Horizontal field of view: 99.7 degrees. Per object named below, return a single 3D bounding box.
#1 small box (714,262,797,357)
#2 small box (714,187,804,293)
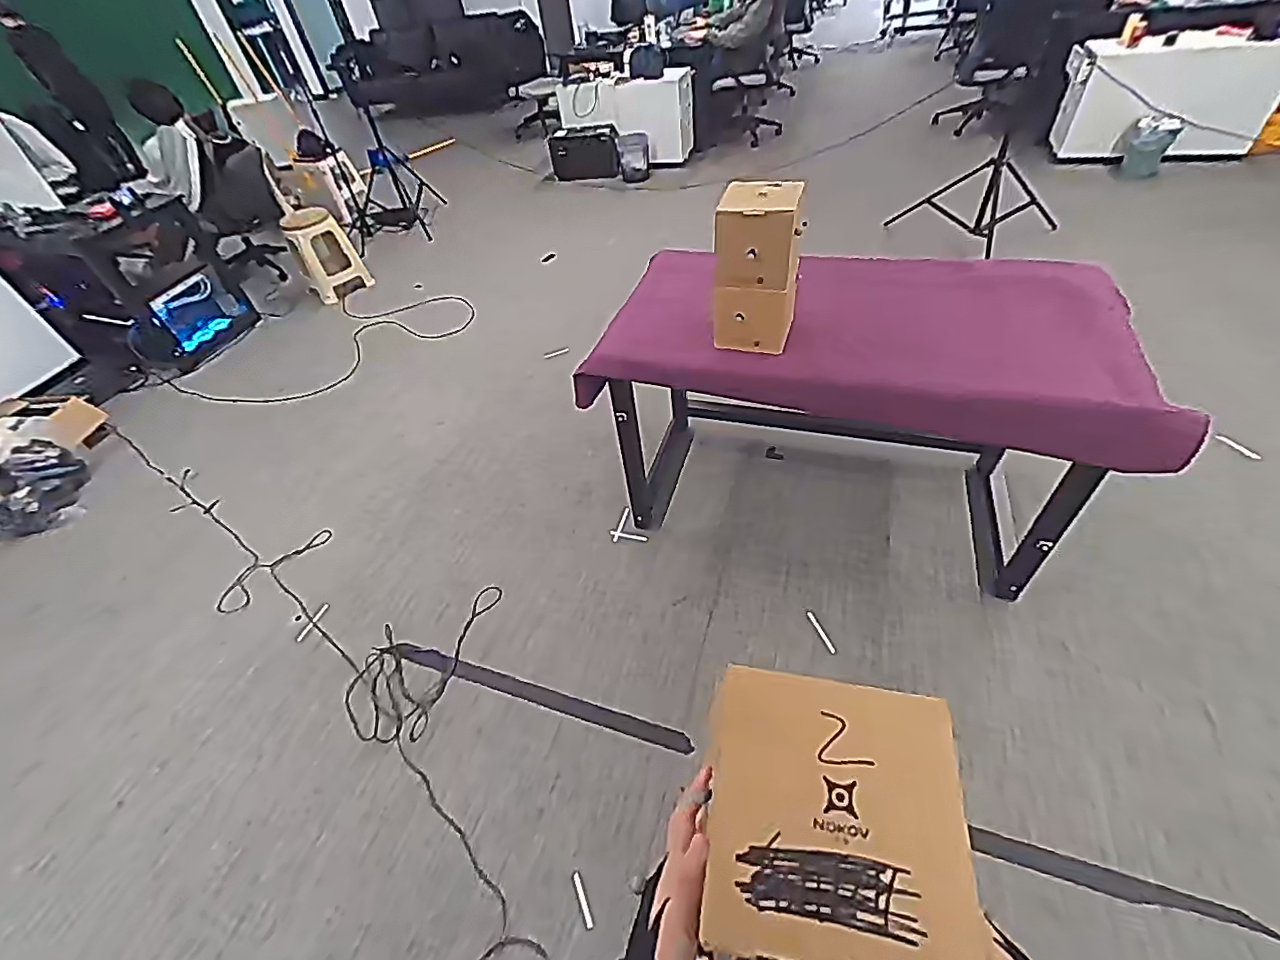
[{"bbox_3d":[0.285,-0.423,1.331,0.168,0.176,0.179,11,48,18],"label":"small box"},{"bbox_3d":[0.267,-0.540,1.218,0.168,0.176,0.179,10,49,17],"label":"small box"}]
